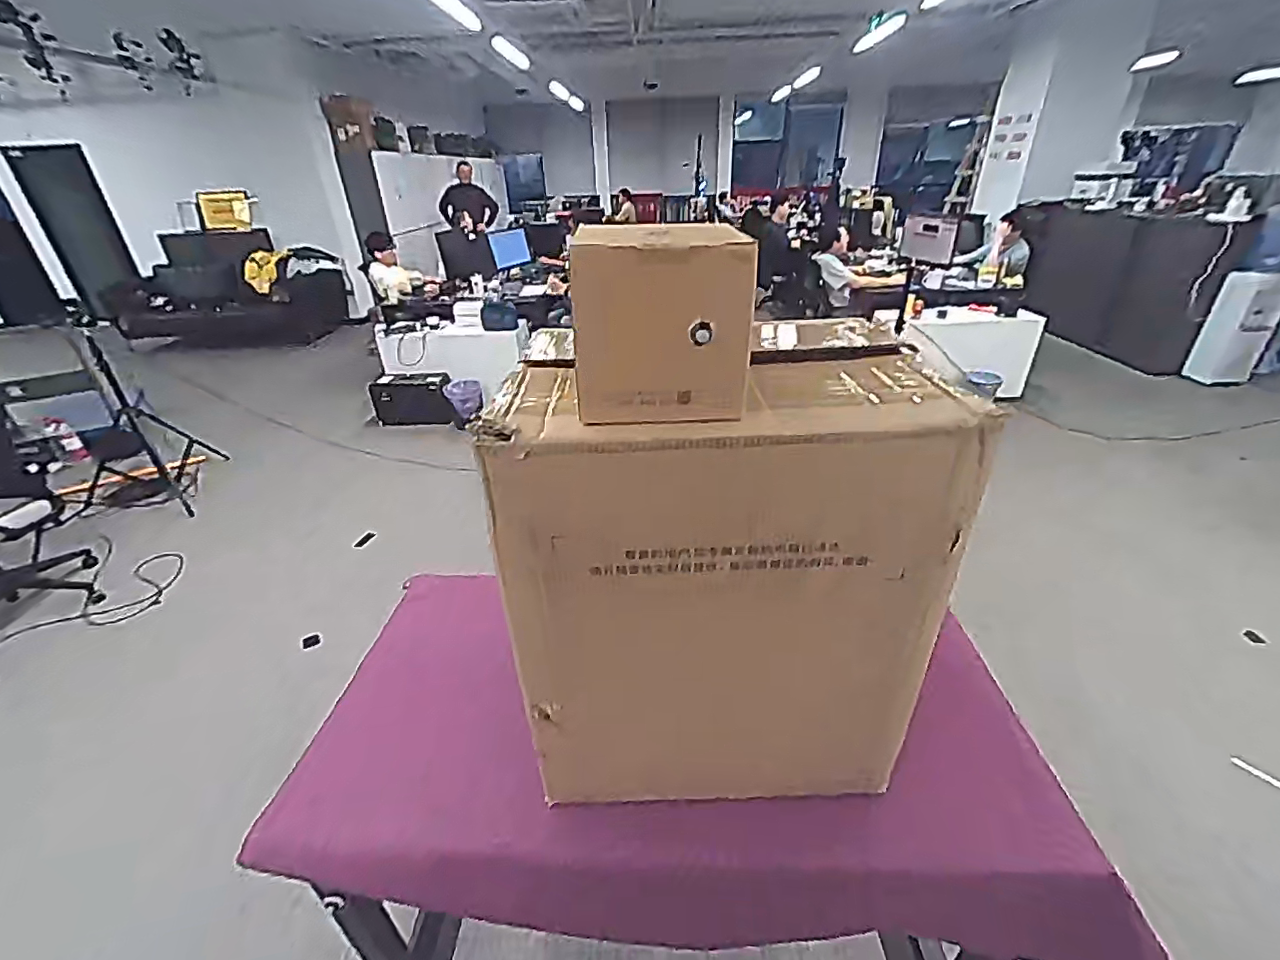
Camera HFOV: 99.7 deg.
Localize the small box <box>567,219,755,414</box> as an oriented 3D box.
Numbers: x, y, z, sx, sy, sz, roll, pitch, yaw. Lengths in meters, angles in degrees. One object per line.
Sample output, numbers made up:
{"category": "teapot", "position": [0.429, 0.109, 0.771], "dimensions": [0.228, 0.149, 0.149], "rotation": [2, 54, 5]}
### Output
{"category": "small box", "position": [0.018, -0.175, 0.569], "dimensions": [0.168, 0.176, 0.179], "rotation": [-1, 29, -2]}
